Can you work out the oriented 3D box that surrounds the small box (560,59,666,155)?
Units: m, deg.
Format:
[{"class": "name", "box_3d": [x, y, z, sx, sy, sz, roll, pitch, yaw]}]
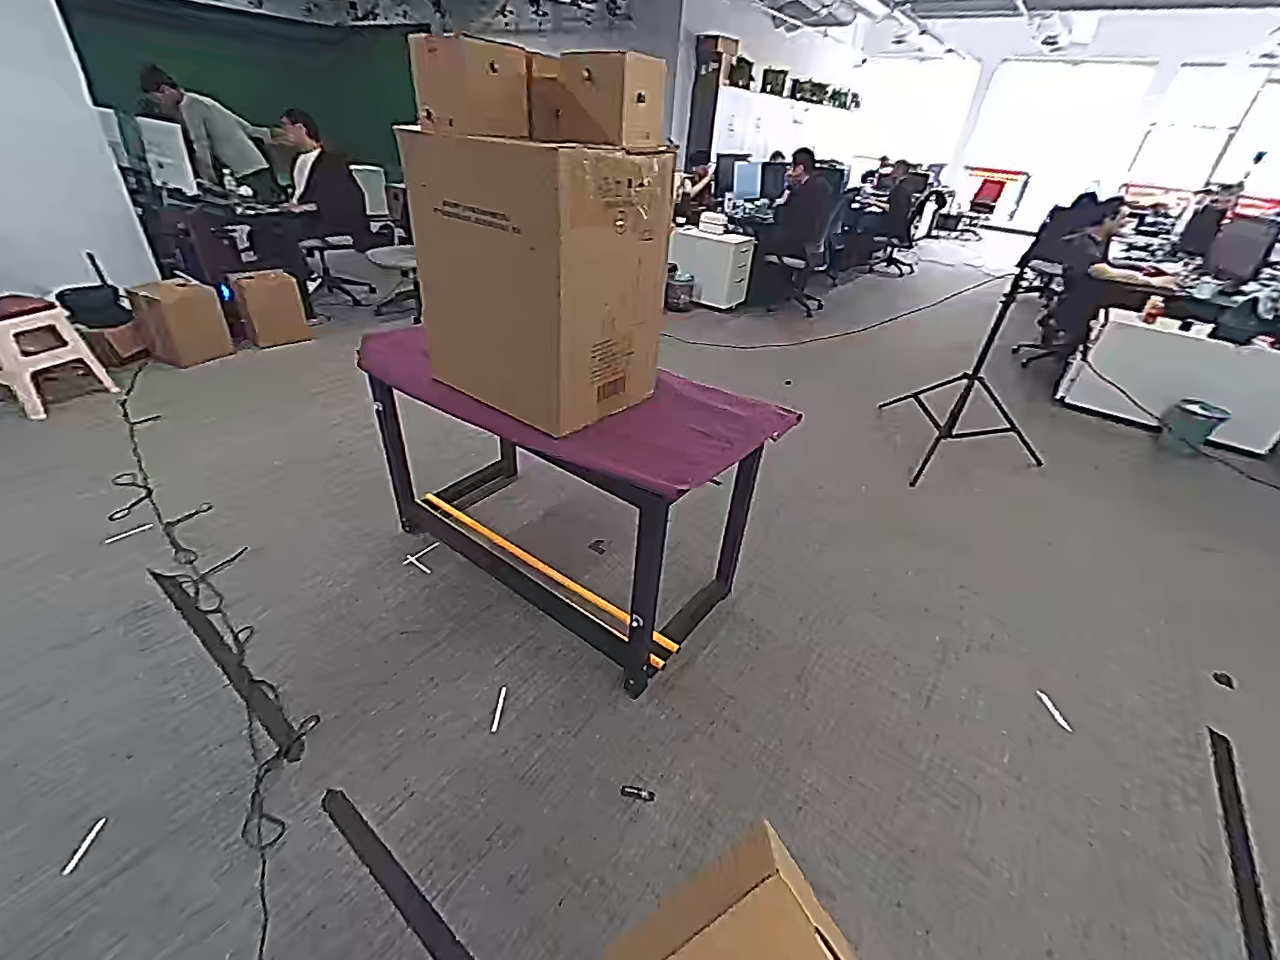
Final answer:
[{"class": "small box", "box_3d": [-0.059, -0.835, 1.220, 0.179, 0.176, 0.168, 21, 36, 26]}]
